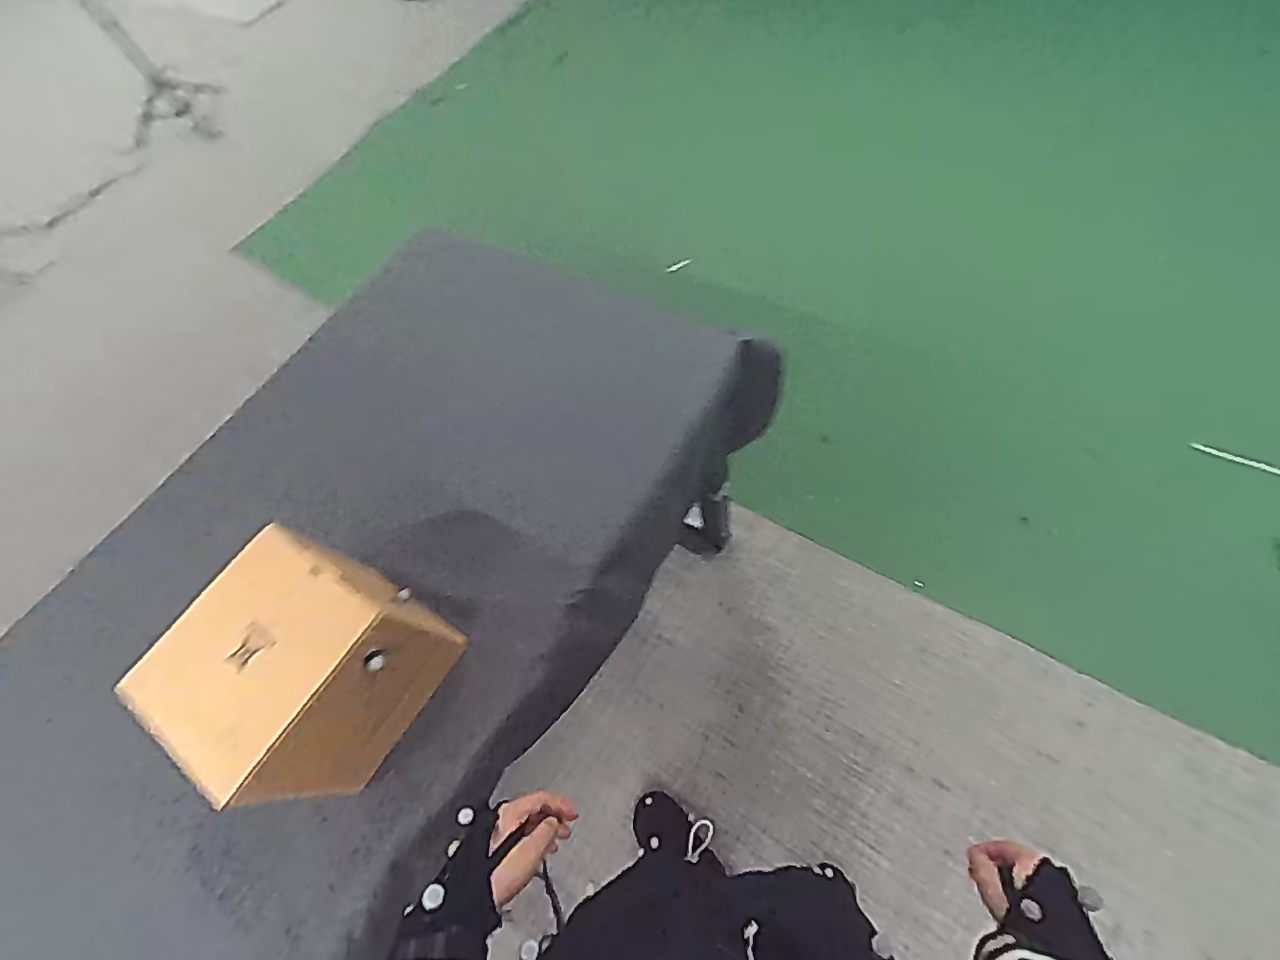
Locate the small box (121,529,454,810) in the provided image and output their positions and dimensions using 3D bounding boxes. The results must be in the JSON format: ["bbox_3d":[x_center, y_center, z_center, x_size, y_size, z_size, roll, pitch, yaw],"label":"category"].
[{"bbox_3d":[-0.319,0.183,0.527,0.168,0.176,0.179,27,70,21],"label":"small box"}]
